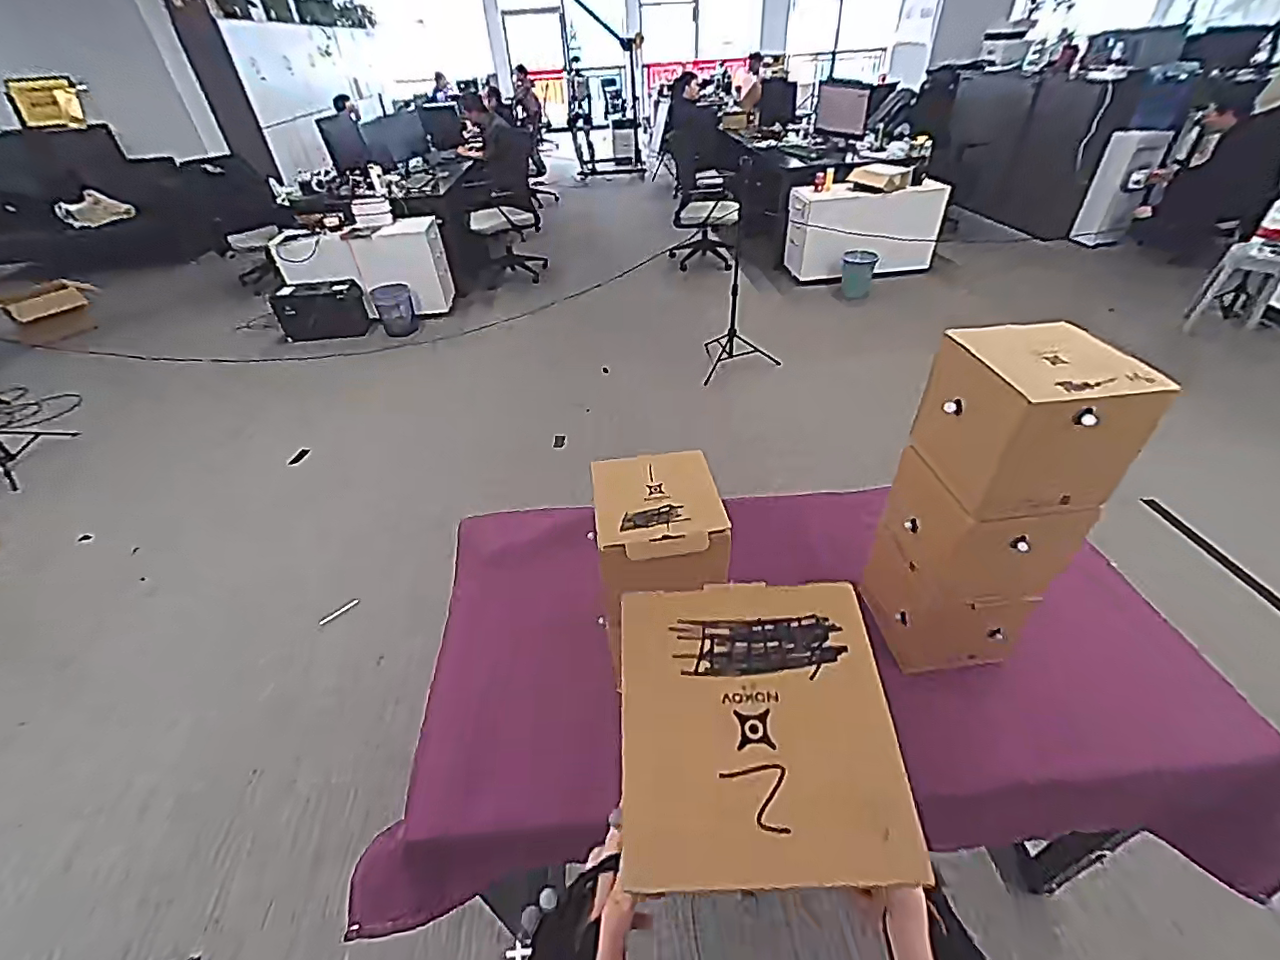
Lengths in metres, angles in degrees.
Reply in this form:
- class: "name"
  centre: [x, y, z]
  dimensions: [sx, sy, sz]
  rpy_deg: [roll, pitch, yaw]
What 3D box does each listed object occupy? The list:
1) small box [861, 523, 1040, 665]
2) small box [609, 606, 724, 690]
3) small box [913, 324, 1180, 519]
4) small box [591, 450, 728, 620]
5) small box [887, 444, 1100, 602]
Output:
- class: "small box"
  centre: [0.481, 0.181, 0.870]
  dimensions: [0.168, 0.176, 0.179]
  rpy_deg: [-5, 39, -2]
- class: "small box"
  centre: [0.033, 0.210, 0.873]
  dimensions: [0.168, 0.176, 0.179]
  rpy_deg: [-6, 40, -3]
- class: "small box"
  centre: [0.469, -0.075, 0.664]
  dimensions: [0.168, 0.176, 0.179]
  rpy_deg: [-6, 39, -3]
- class: "small box"
  centre: [0.024, 0.083, 0.770]
  dimensions: [0.168, 0.176, 0.179]
  rpy_deg: [-7, 39, -4]
- class: "small box"
  centre: [0.473, 0.056, 0.764]
  dimensions: [0.179, 0.176, 0.168]
  rpy_deg: [-6, 40, -3]
